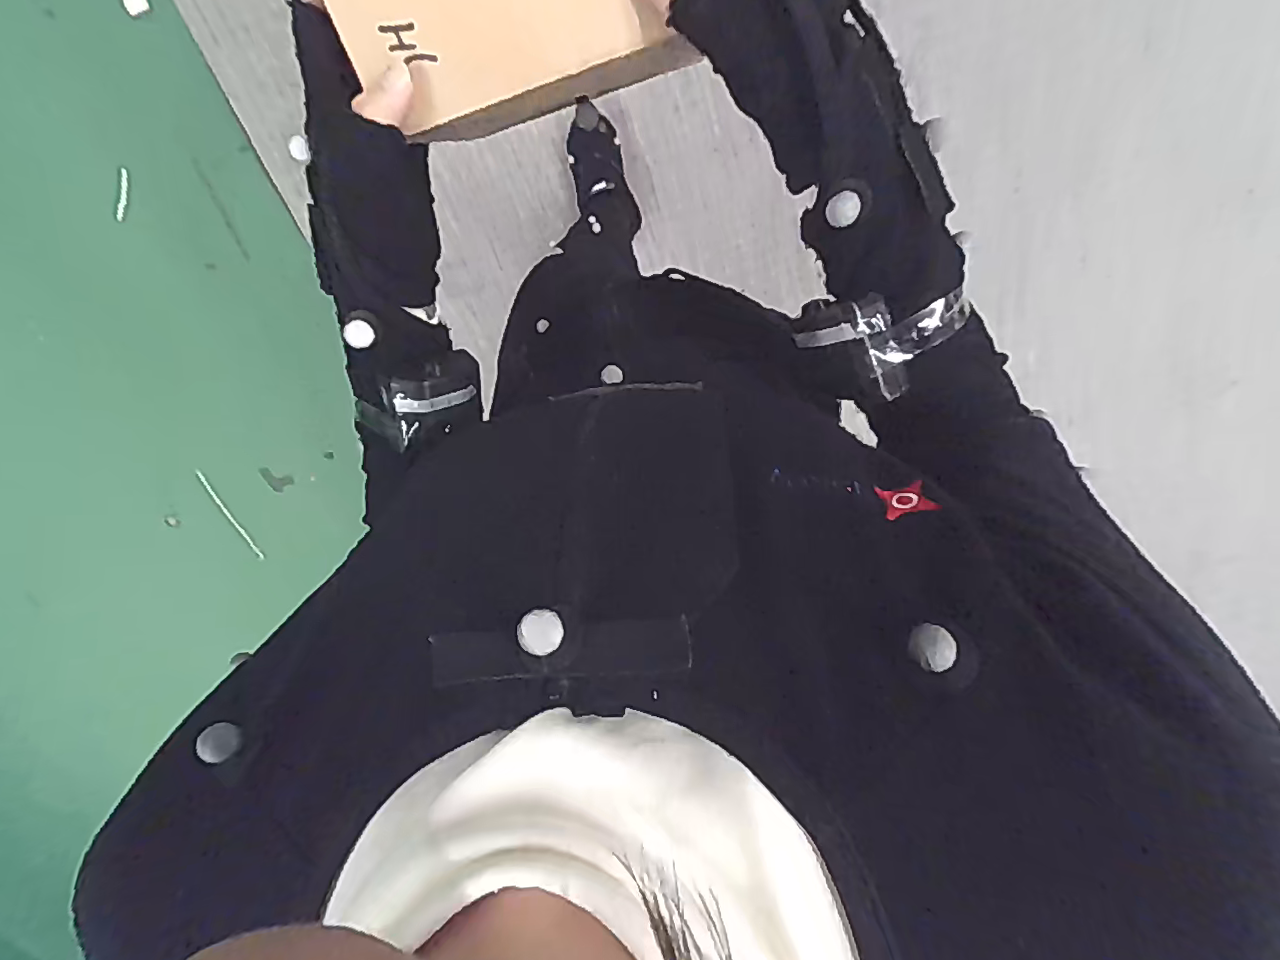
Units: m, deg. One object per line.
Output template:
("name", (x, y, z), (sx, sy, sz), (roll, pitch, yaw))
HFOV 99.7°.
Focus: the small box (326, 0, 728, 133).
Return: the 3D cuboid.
("small box", (-0.064, -0.299, 0.279), (0.179, 0.176, 0.168), (-13, 120, 9))
